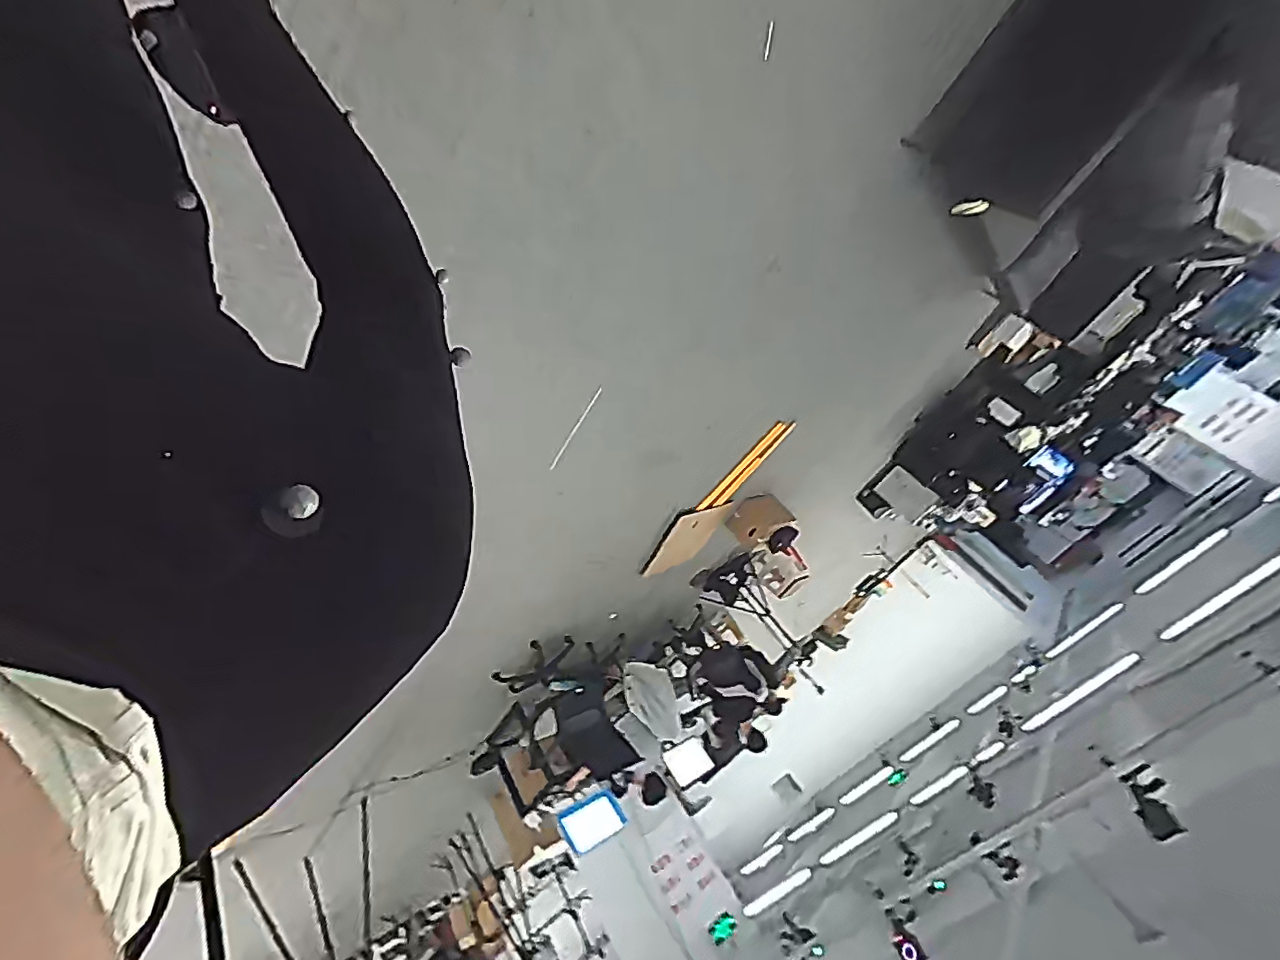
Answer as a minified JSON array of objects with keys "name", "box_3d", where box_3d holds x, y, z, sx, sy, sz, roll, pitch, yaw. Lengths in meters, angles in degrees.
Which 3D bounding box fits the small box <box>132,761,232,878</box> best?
[{"name":"small box","box_3d":[-1.183,0.865,1.392,0.168,0.176,0.179,5,129,-50]}]
